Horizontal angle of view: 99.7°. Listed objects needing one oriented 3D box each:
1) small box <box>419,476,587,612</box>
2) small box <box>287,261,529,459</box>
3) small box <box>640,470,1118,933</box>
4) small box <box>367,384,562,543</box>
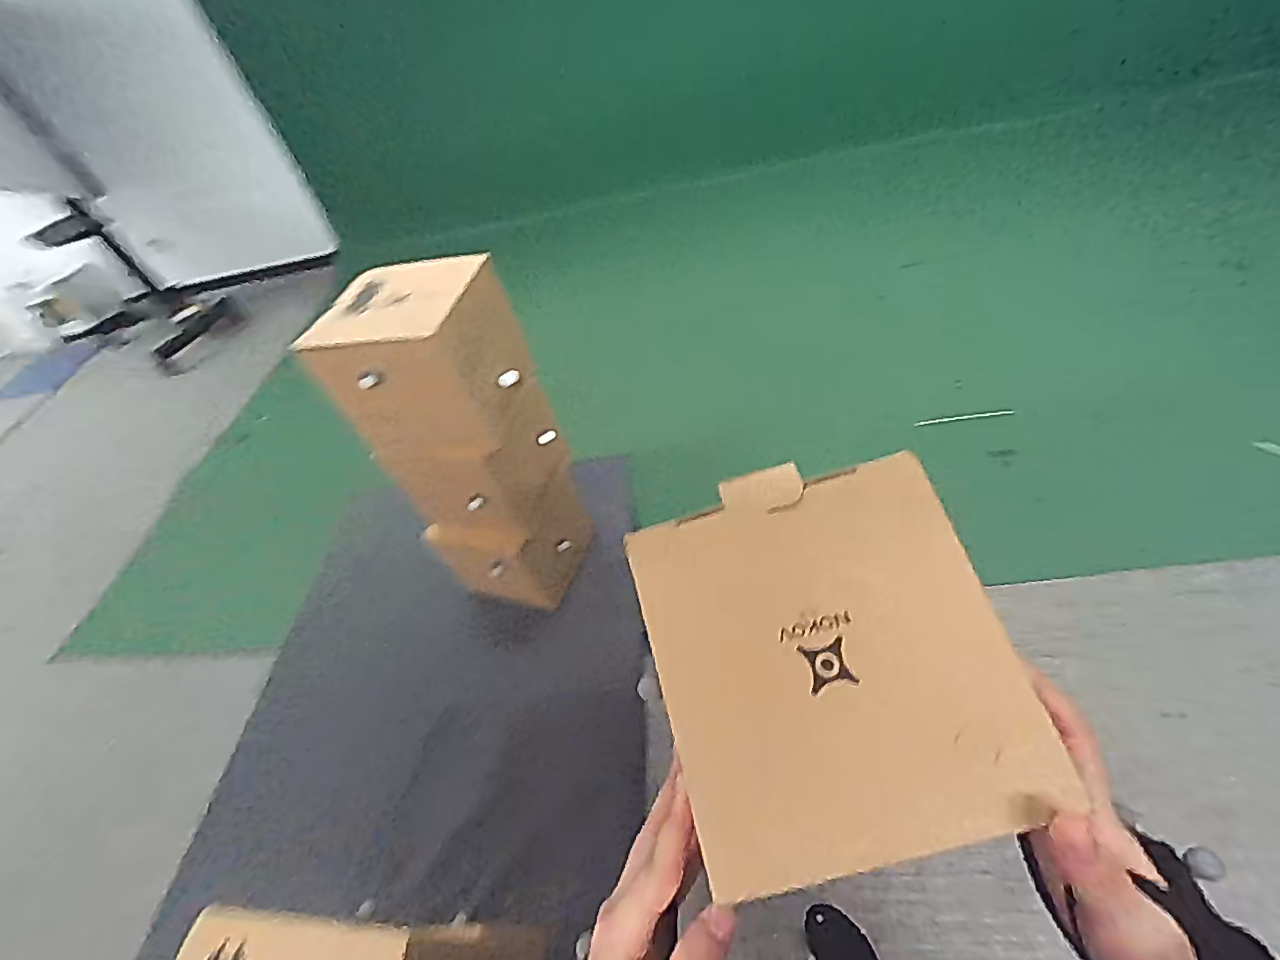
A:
[{"bbox_3d":[-0.208,0.096,0.879,0.179,0.176,0.168,7,51,23],"label":"small box"},{"bbox_3d":[-0.261,-0.138,0.655,0.179,0.176,0.168,-1,49,14],"label":"small box"},{"bbox_3d":[0.111,0.121,0.327,0.168,0.176,0.179,-17,66,4],"label":"small box"},{"bbox_3d":[-0.232,-0.025,0.771,0.179,0.176,0.168,2,49,20],"label":"small box"}]
